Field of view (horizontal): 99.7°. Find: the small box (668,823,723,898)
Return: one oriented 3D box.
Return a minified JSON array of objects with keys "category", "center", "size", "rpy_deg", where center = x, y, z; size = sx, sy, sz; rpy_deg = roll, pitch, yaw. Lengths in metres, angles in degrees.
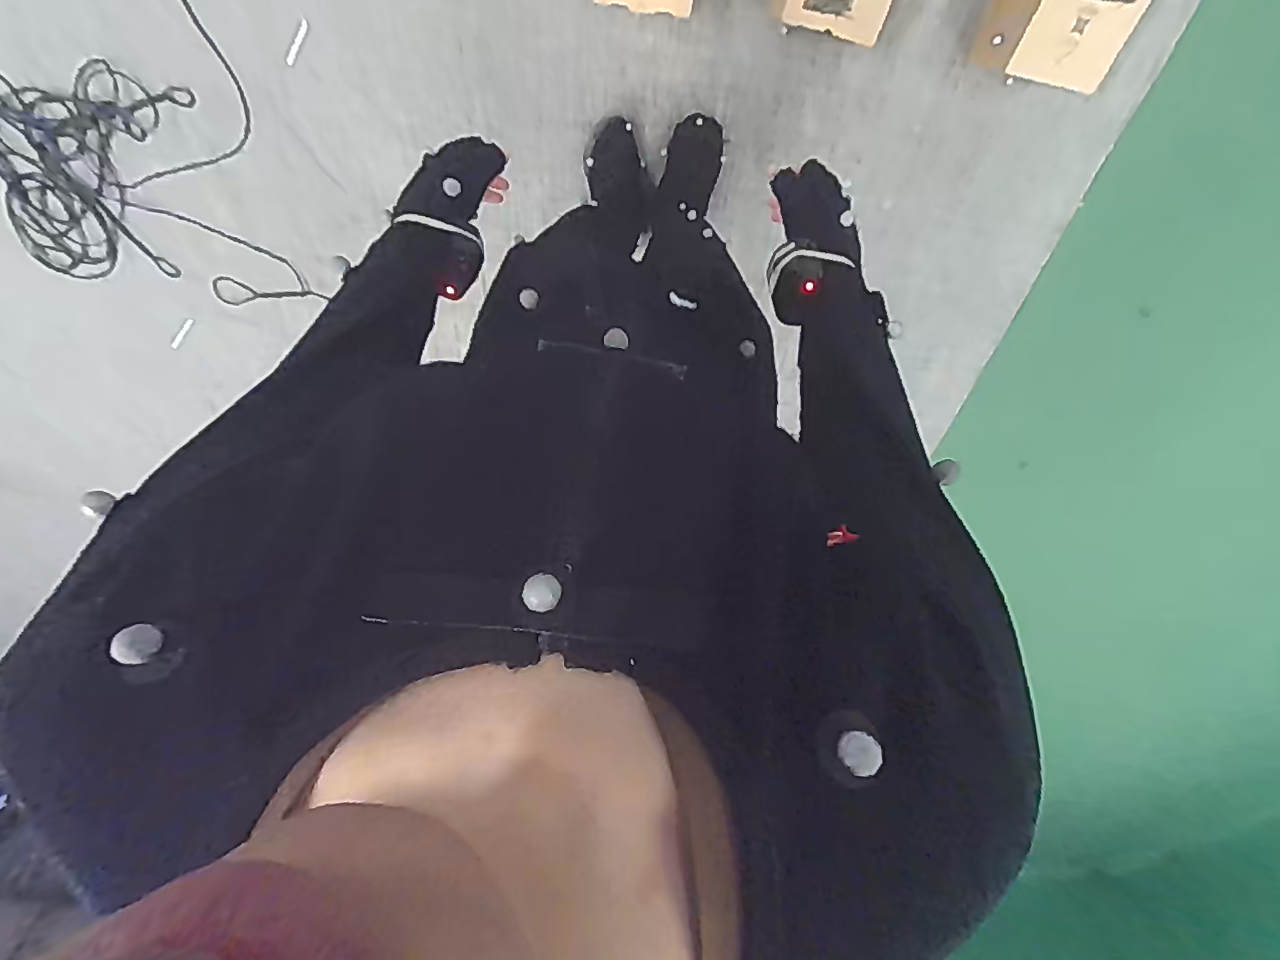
[{"category":"small box","center":[0.186,1.293,1.840],"size":[0.168,0.176,0.179],"rpy_deg":[5,132,0]}]

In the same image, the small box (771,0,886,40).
[{"category":"small box","center":[0.326,-0.858,0.887],"size":[0.168,0.176,0.179],"rpy_deg":[12,131,-7]}]
